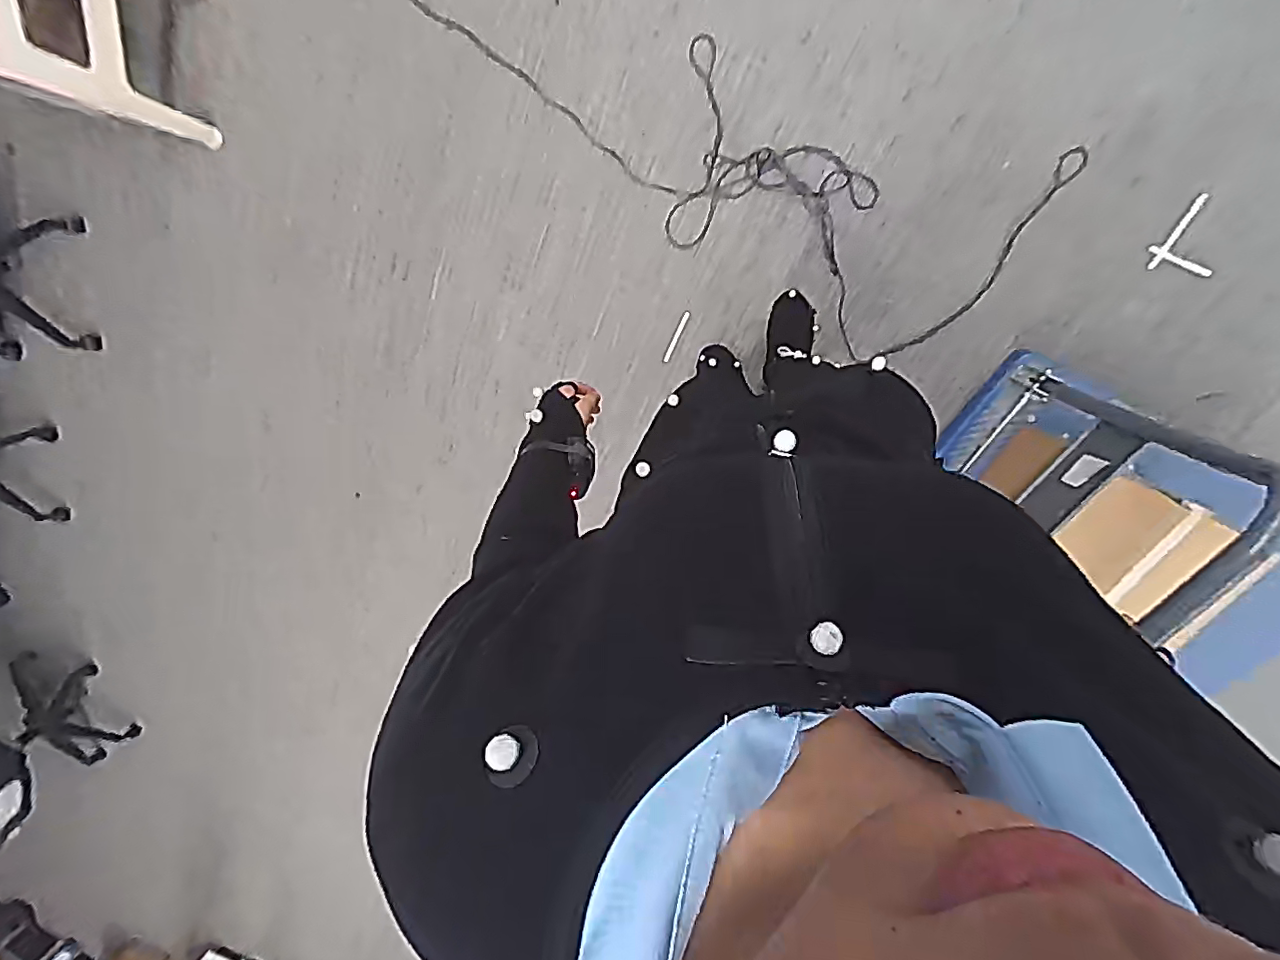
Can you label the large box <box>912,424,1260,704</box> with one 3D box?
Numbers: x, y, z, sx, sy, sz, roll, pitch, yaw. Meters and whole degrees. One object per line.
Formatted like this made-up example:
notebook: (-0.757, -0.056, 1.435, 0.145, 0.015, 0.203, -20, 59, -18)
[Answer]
large box: (0.842, 0.153, 1.105, 0.320, 0.320, 0.408, 26, 114, 2)
